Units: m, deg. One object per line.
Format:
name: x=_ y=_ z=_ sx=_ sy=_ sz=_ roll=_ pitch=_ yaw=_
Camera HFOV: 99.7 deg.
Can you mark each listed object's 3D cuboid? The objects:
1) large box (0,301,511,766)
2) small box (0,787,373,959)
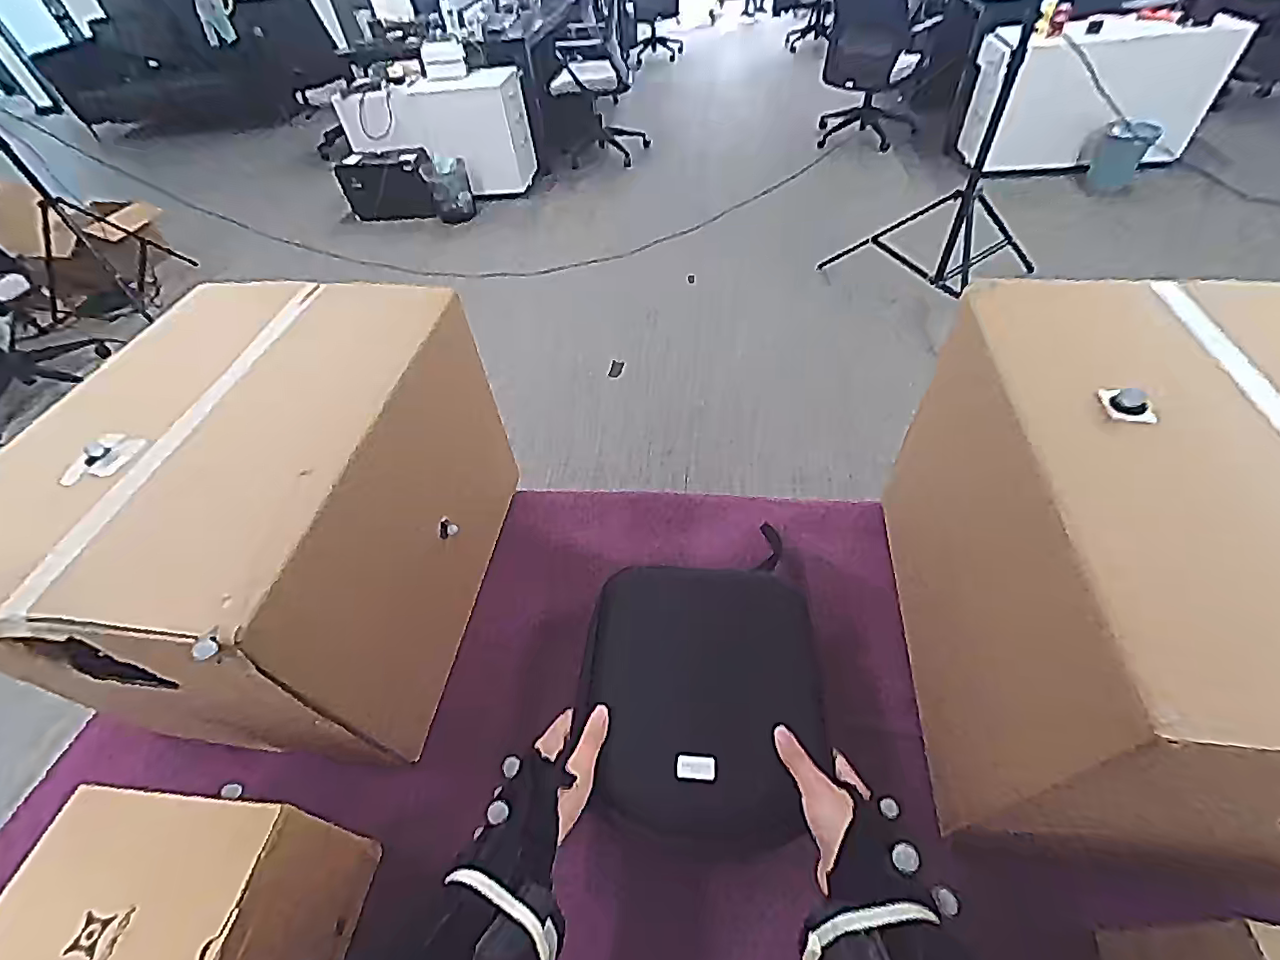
large box: x=-0.366 y=0.051 z=0.600 sx=0.320 sy=0.320 sz=0.408 roll=2 pitch=51 yaw=7
small box: x=-0.351 y=0.358 z=0.419 sx=0.179 sy=0.176 sz=0.168 roll=1 pitch=47 yaw=7
